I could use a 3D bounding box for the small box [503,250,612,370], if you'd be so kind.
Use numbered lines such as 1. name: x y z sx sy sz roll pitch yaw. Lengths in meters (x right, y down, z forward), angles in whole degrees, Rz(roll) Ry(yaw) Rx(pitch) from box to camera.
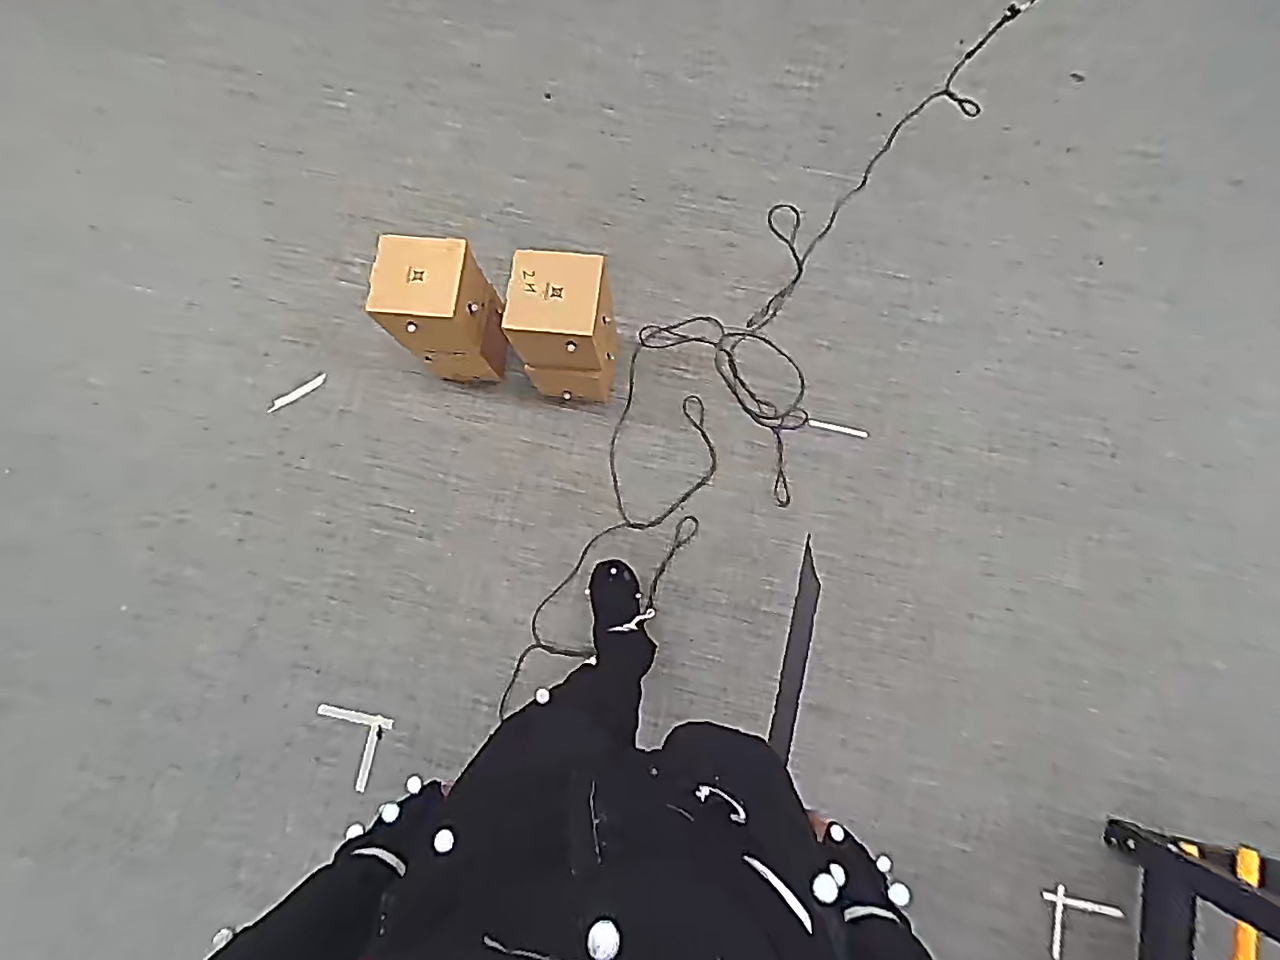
1. small box: -0.155 -0.332 1.085 0.179 0.176 0.168 6 79 5

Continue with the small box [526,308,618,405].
1. small box: -0.148 -0.290 1.245 0.168 0.176 0.179 8 80 5

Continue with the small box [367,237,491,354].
1. small box: -0.420 -0.370 1.109 0.179 0.176 0.168 5 79 4
